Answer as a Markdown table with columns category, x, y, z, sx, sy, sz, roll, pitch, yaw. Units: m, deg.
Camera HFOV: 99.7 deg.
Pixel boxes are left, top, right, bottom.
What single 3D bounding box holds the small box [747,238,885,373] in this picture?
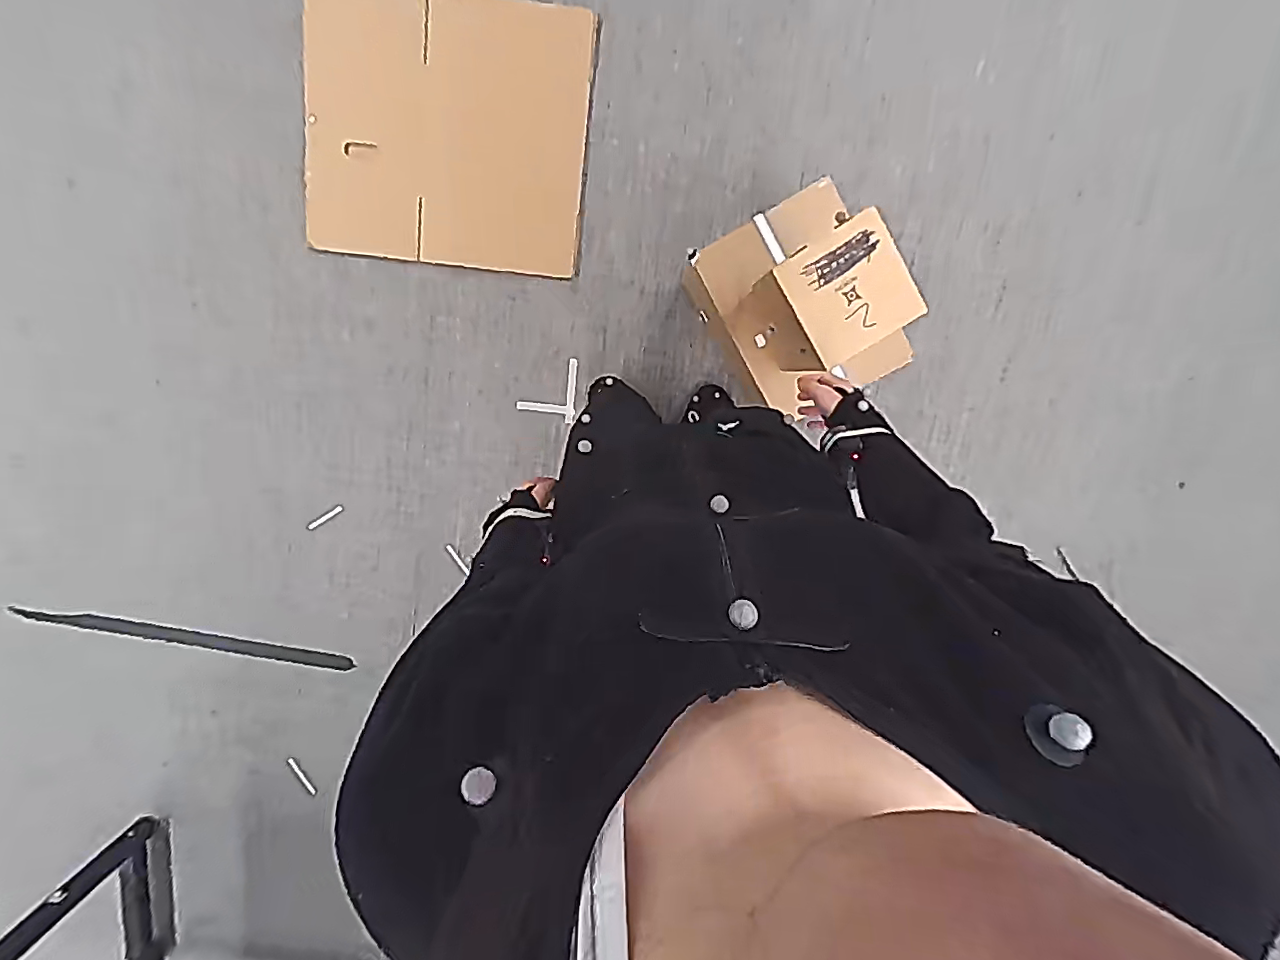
| category | x | y | z | sx | sy | sz | roll | pitch | yaw |
| --- | --- | --- | --- | --- | --- | --- | --- | --- | --- |
| small box | 0.319 | -0.317 | 1.022 | 0.168 | 0.176 | 0.179 | -31 | 99 | 9 |
